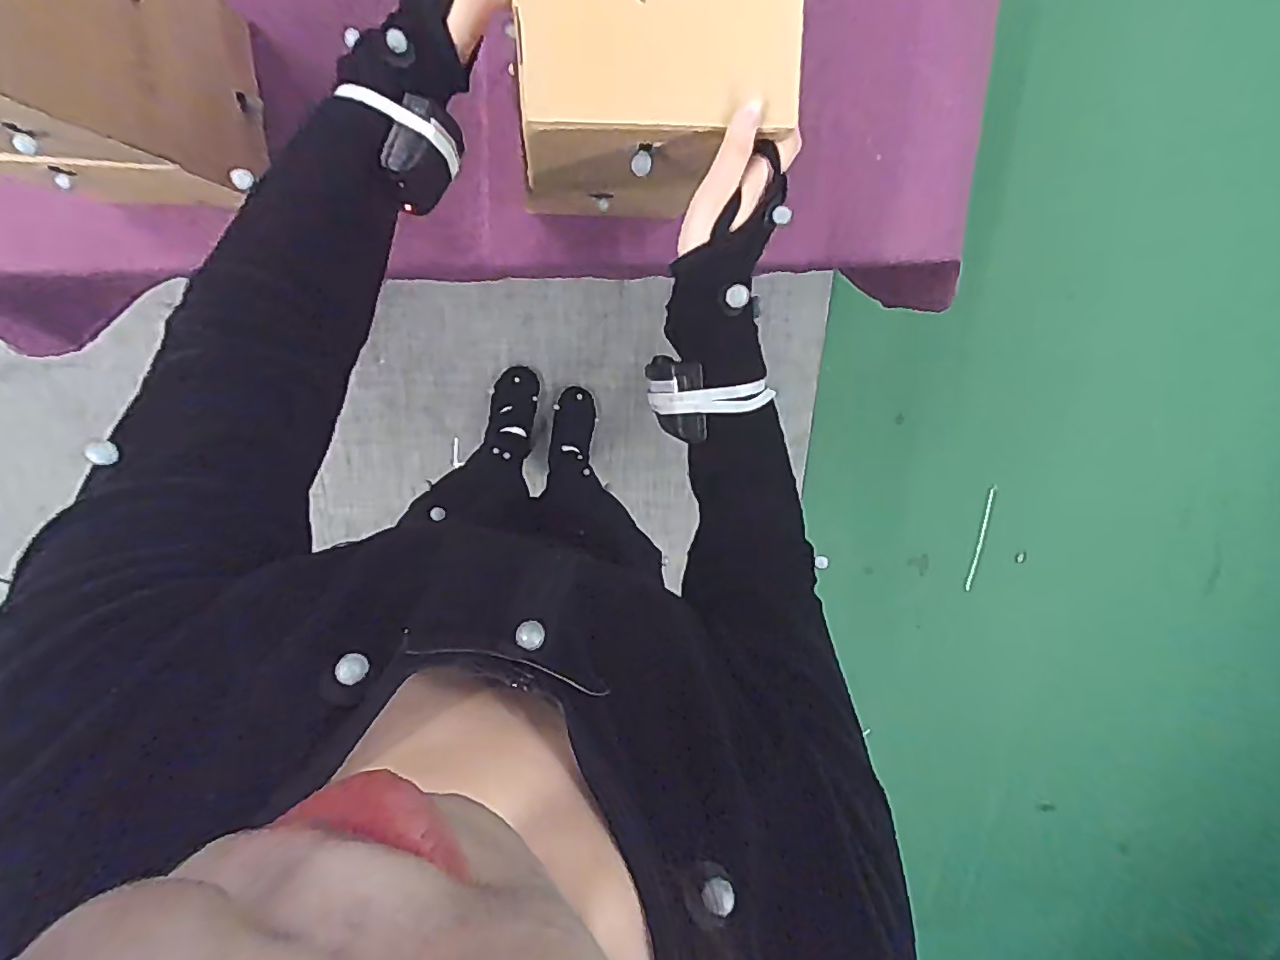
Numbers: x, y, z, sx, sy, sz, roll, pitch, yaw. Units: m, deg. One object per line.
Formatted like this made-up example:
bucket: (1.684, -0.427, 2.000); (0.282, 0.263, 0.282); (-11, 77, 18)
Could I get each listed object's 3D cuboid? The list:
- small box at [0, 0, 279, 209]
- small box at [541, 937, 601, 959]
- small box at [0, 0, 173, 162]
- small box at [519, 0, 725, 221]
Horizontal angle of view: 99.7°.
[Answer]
small box: (-0.457, -0.358, 0.480); (0.168, 0.176, 0.179); (-1, 107, -9)
small box: (-0.202, 1.484, 1.575); (0.179, 0.176, 0.168); (-1, 111, -9)
small box: (-0.431, -0.308, 0.326); (0.179, 0.176, 0.168); (1, 107, -9)
small box: (-0.026, -0.367, 0.548); (0.179, 0.176, 0.168); (-2, 108, -9)
